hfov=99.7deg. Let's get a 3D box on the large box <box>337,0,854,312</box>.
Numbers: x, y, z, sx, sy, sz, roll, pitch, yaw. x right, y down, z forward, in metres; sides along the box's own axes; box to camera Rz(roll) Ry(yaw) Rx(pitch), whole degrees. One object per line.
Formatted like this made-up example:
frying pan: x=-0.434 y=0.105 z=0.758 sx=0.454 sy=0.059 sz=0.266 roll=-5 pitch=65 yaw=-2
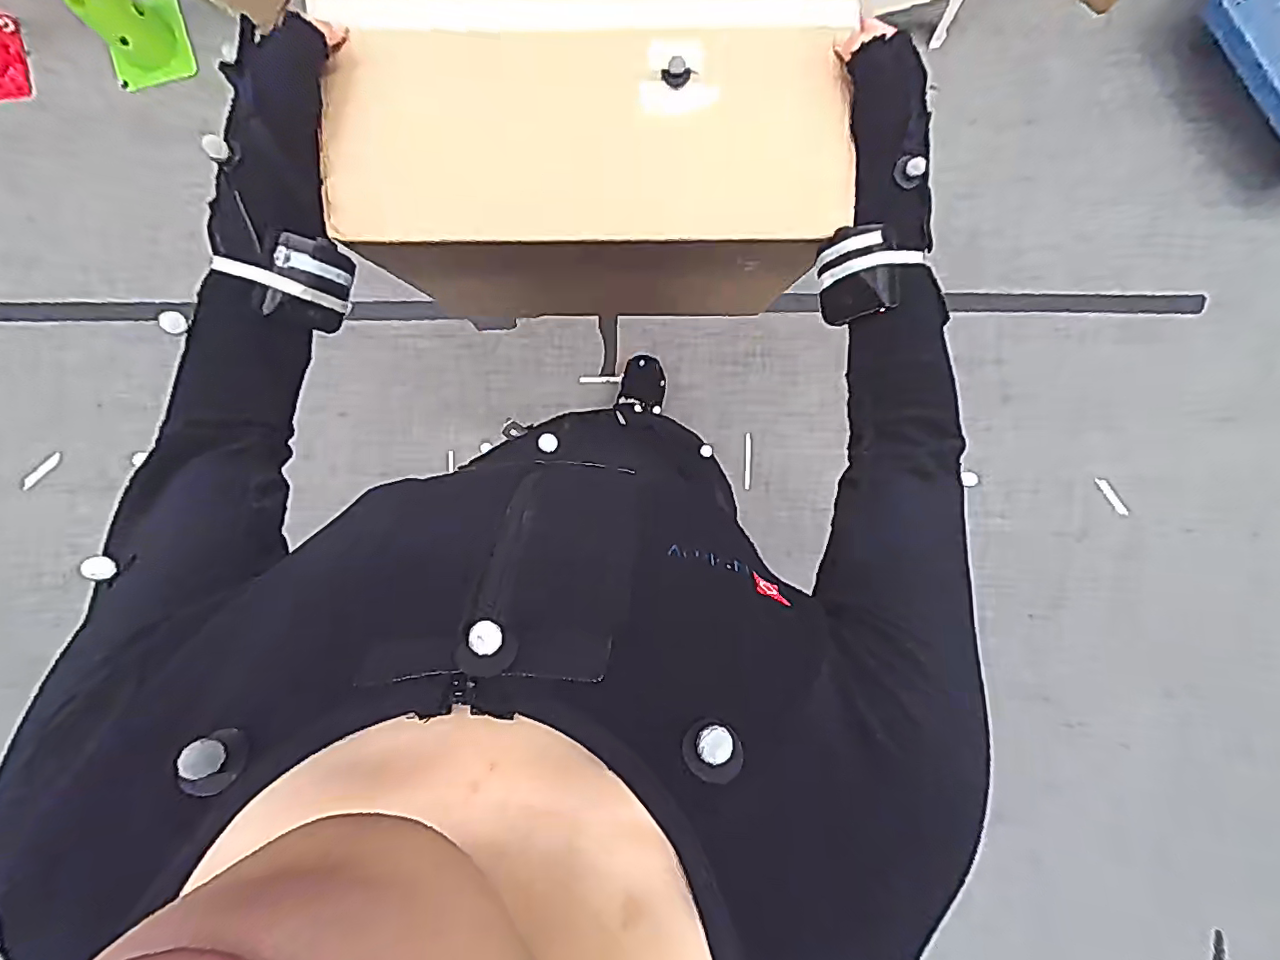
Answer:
large box: x=-0.037 y=-0.368 z=0.562 sx=0.408 sy=0.320 sz=0.320 roll=-1 pitch=96 yaw=-1
